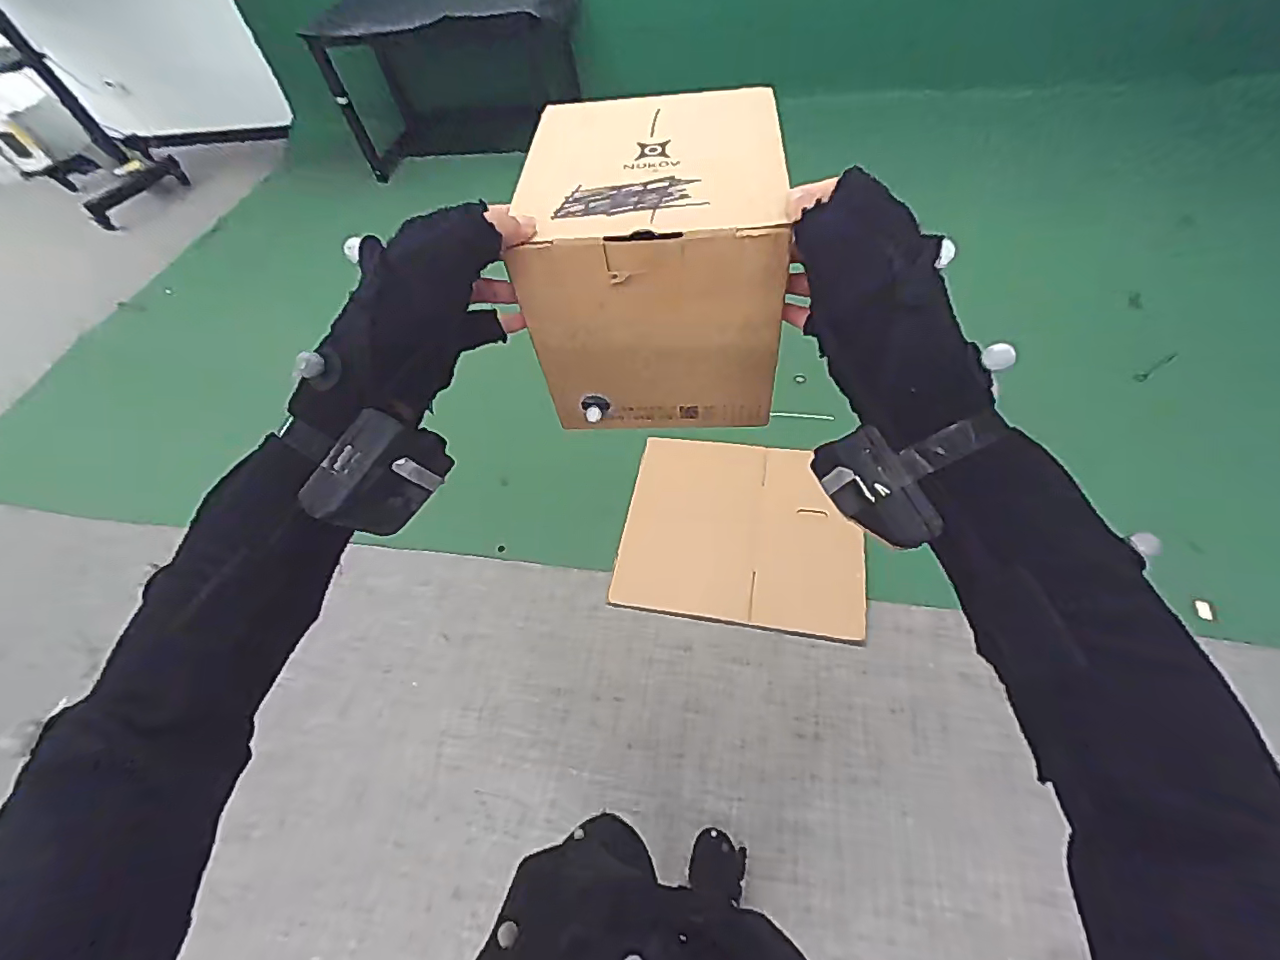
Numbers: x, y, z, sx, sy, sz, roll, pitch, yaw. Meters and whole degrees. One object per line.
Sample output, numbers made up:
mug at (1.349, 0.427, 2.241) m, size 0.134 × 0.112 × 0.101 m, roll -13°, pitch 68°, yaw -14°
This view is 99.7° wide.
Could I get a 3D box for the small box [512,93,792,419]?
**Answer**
small box at (0.019, -0.160, 0.416) m, size 0.168 × 0.176 × 0.179 m, roll 0°, pitch 55°, yaw 7°
